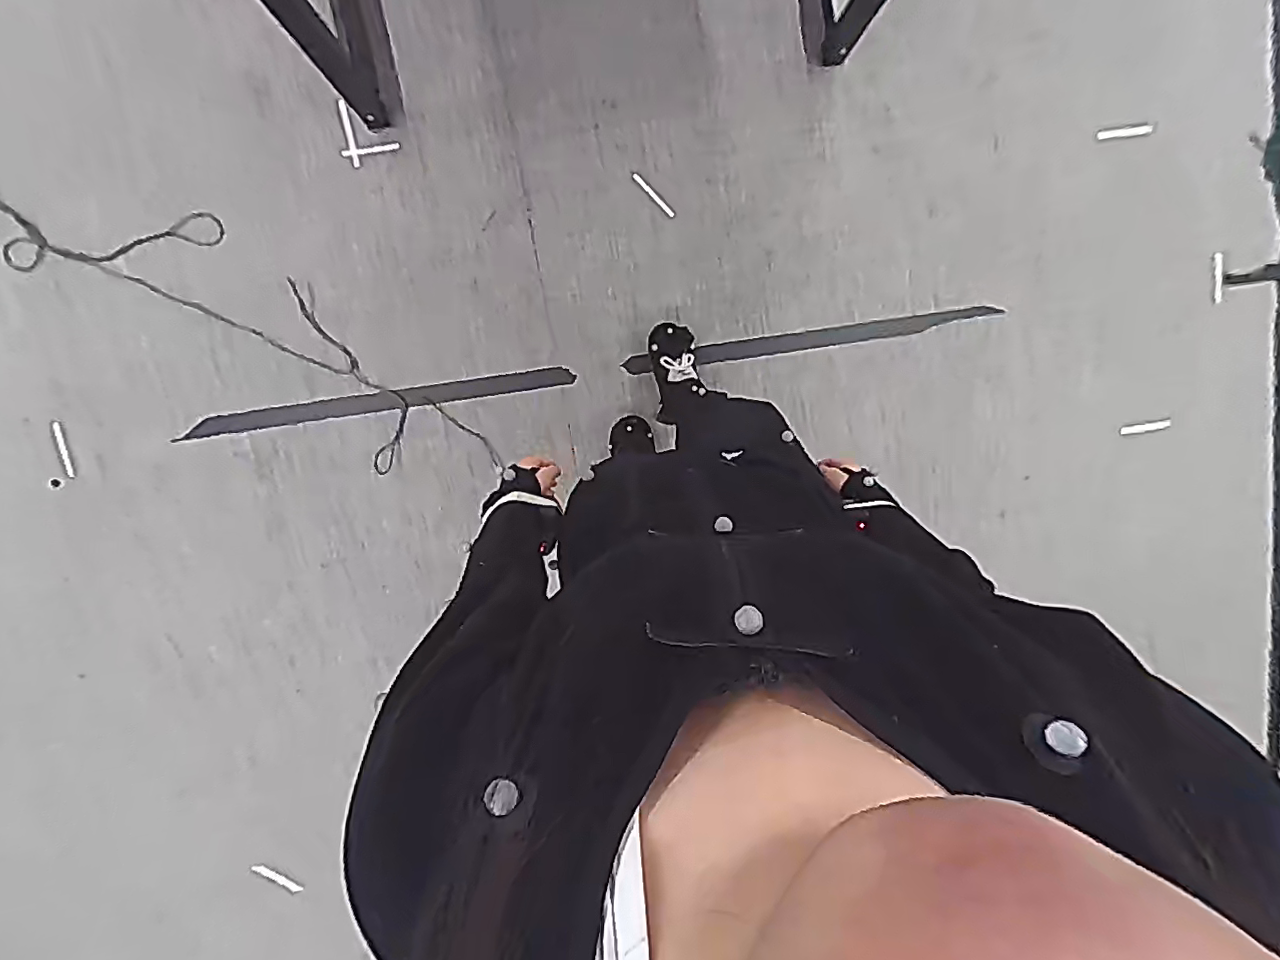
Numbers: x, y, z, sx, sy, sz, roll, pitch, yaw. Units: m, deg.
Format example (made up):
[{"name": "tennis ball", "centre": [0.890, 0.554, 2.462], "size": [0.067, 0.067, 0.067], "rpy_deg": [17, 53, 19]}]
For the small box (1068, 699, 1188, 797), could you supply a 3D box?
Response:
[{"name": "small box", "centre": [1.453, 0.792, 1.623], "size": [0.179, 0.176, 0.168], "rpy_deg": [43, 95, -10]}]
